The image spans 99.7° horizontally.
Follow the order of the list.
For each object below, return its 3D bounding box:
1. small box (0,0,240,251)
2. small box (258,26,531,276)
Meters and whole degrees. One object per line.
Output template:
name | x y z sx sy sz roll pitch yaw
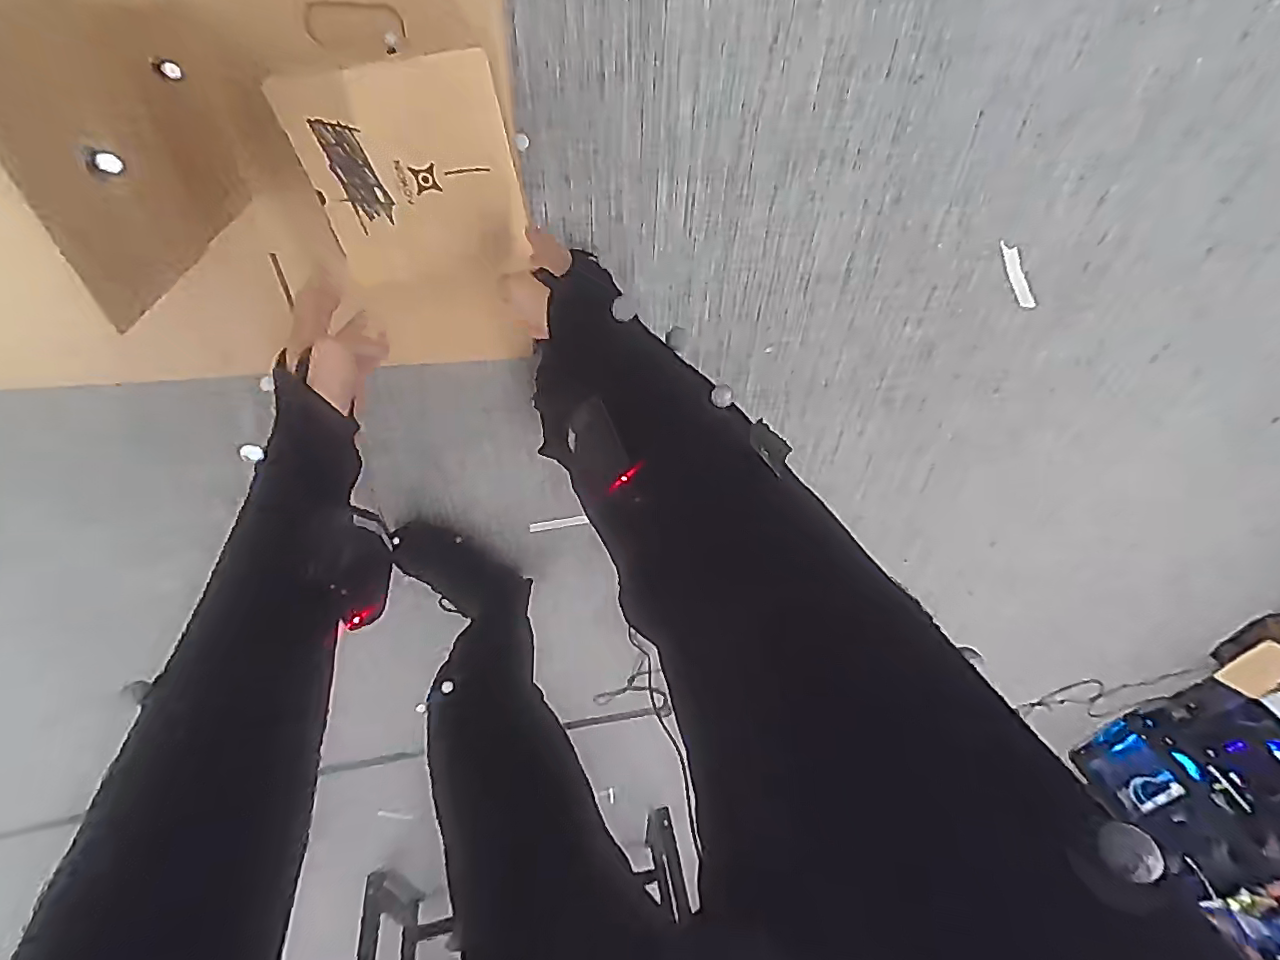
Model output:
small box | -0.482 -0.313 0.456 0.168 0.176 0.179 -4 132 -13
small box | -0.211 -0.321 0.523 0.179 0.176 0.168 -12 133 -4
